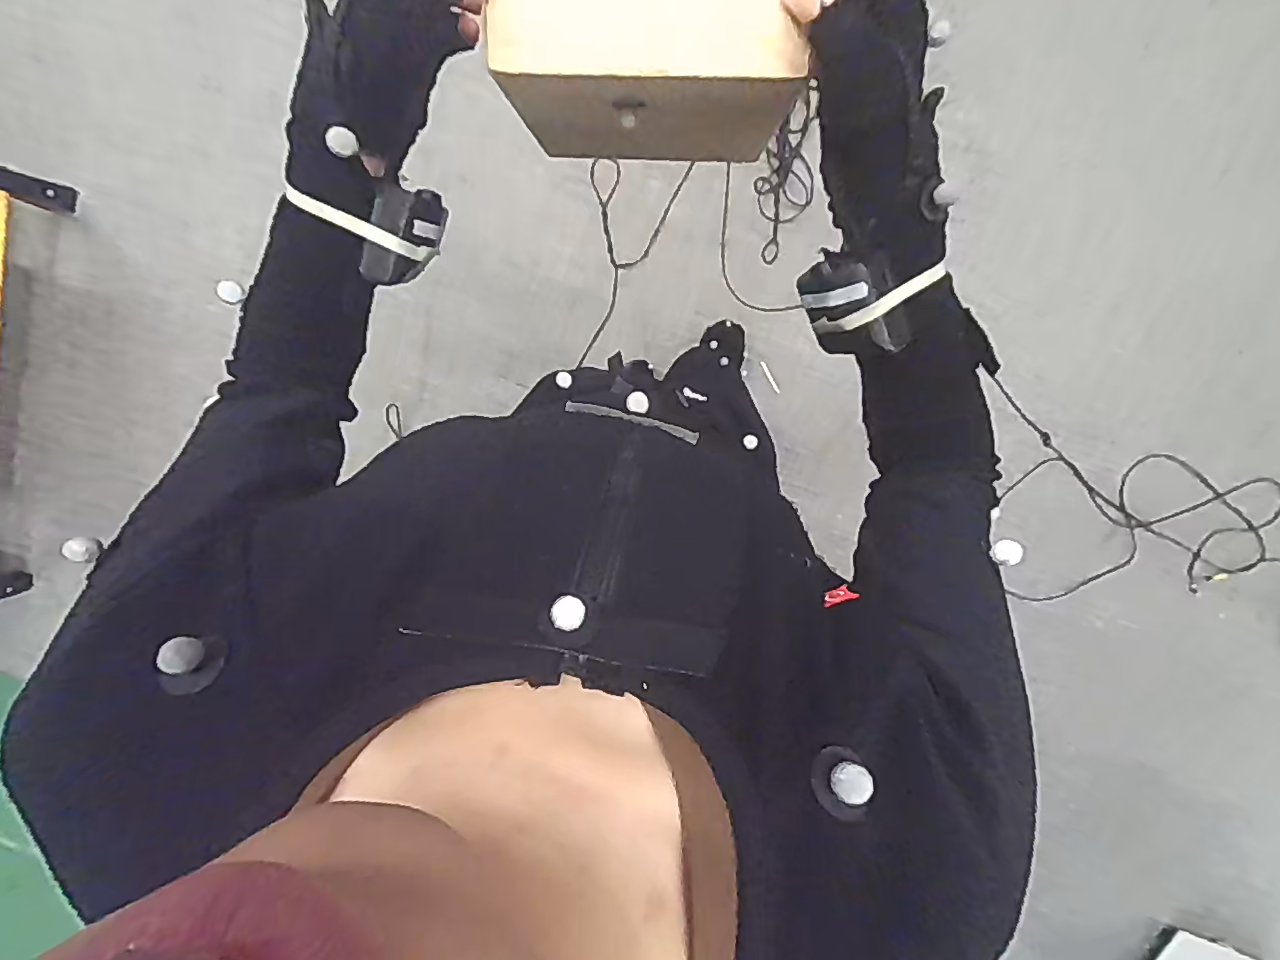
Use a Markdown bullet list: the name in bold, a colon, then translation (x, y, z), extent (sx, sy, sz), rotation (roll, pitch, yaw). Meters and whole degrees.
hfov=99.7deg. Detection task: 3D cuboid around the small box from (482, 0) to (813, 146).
- **small box**: translation (0.008, -0.329, 0.342), extent (0.179, 0.176, 0.168), rotation (2, 107, 1)
